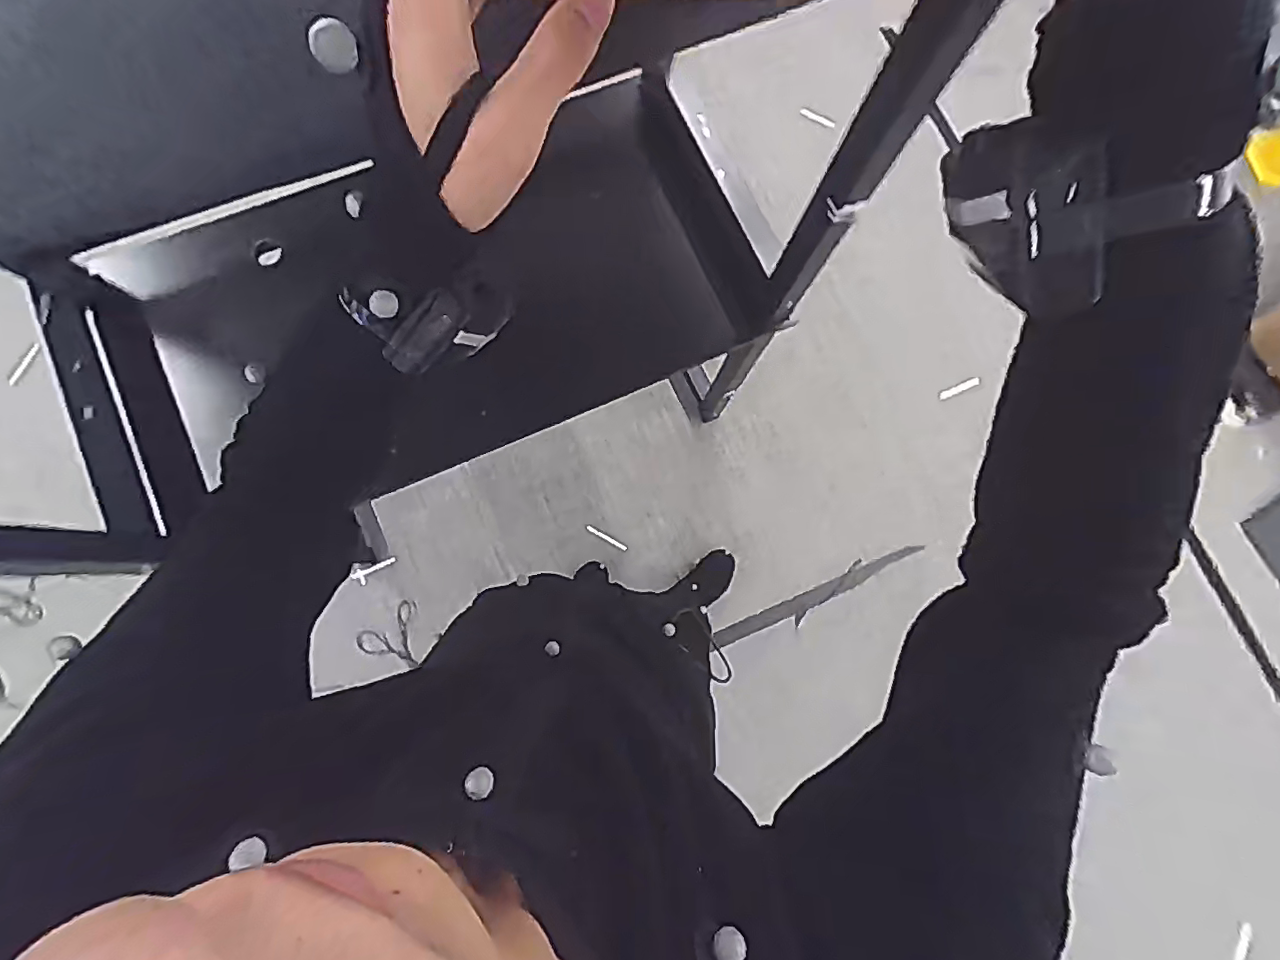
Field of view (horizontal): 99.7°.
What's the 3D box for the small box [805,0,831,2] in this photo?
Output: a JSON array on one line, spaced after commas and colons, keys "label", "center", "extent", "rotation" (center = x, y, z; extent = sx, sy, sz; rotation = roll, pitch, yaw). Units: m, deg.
[{"label": "small box", "center": [0.032, -0.293, 0.162], "extent": [0.168, 0.176, 0.179], "rotation": [-3, 102, -5]}]
